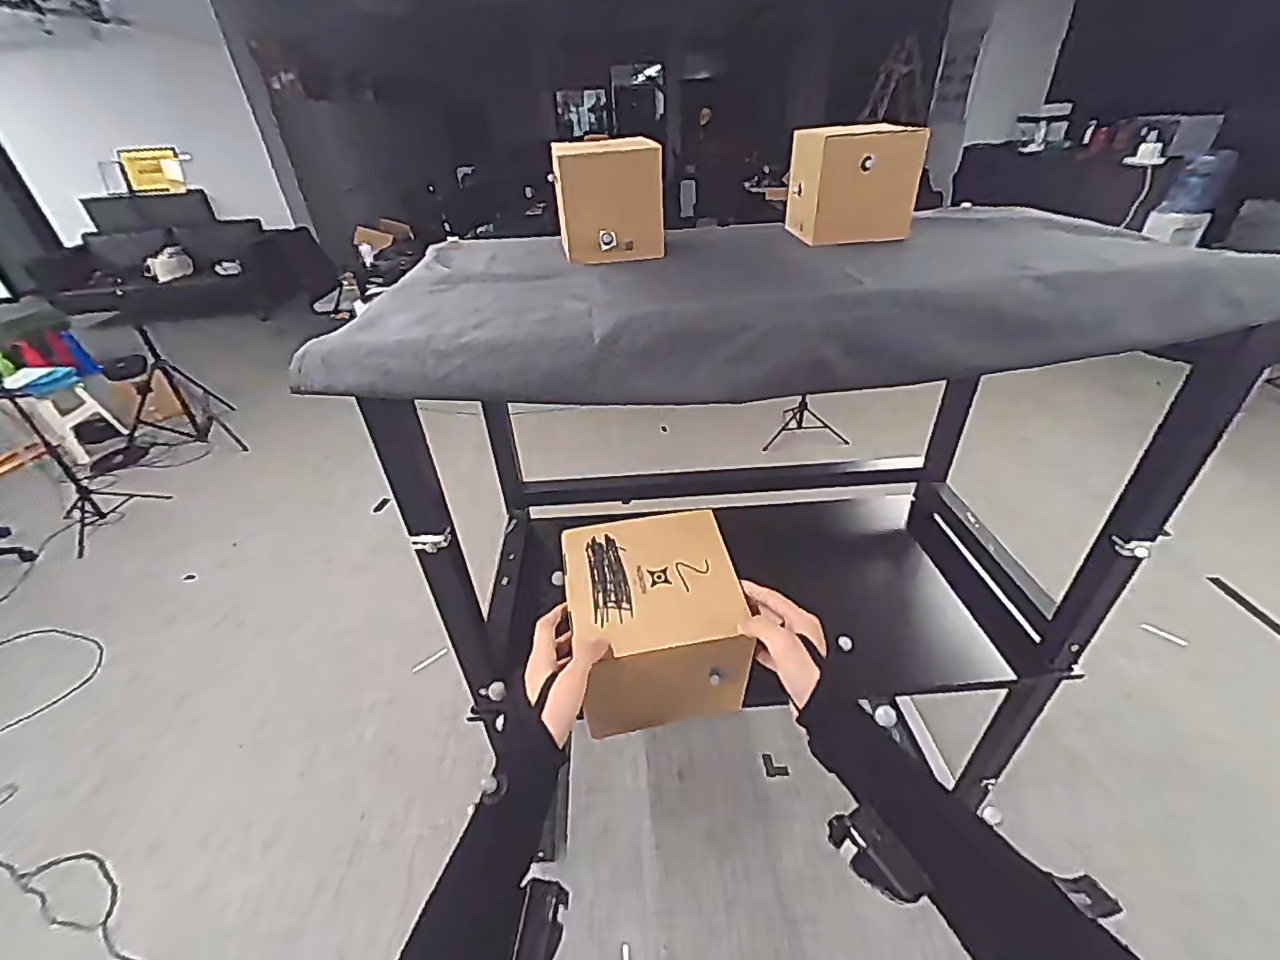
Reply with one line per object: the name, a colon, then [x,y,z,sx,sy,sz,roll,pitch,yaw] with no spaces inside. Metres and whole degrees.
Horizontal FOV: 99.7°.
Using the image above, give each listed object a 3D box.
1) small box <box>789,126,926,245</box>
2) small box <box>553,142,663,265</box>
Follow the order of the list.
small box: [0.373,-0.528,0.969,0.179,0.176,0.168,-4,36,-1]
small box: [-0.057,-0.483,0.943,0.168,0.176,0.179,-9,35,-6]
